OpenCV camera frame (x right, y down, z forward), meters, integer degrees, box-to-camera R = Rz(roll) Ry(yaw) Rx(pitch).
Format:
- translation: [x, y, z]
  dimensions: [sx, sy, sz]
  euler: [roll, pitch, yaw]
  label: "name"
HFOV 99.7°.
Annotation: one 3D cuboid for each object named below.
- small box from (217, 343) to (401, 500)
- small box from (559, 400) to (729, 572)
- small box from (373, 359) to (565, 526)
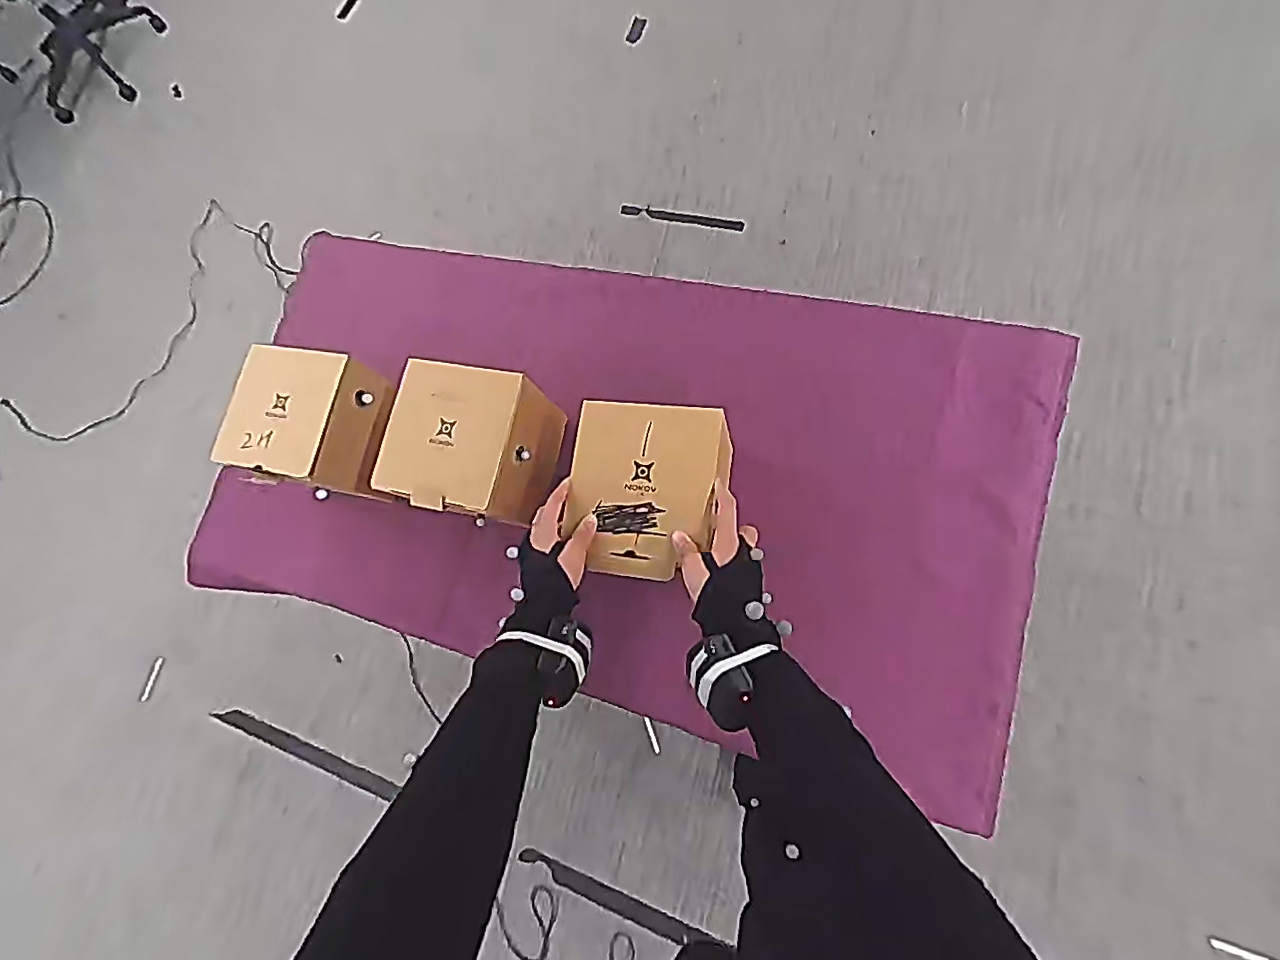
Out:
- translation: [-0.459, -0.080, 0.799]
  dimensions: [0.168, 0.176, 0.179]
  euler: [9, 80, 15]
  label: "small box"
- translation: [0.017, 0.016, 0.671]
  dimensions: [0.168, 0.176, 0.179]
  euler: [5, 78, 14]
  label: "small box"
- translation: [-0.219, -0.043, 0.739]
  dimensions: [0.168, 0.176, 0.179]
  euler: [11, 80, 14]
  label: "small box"
